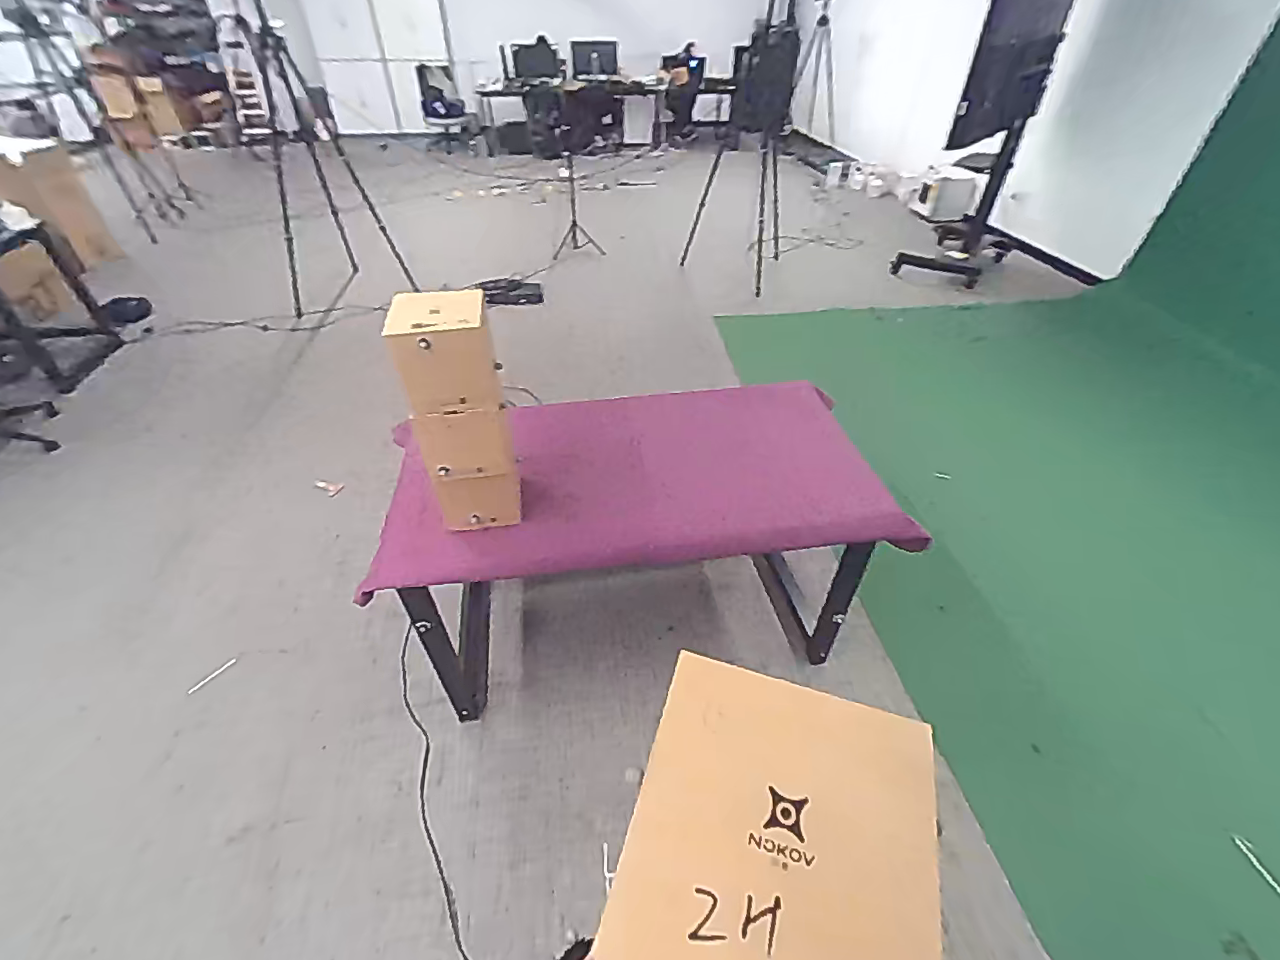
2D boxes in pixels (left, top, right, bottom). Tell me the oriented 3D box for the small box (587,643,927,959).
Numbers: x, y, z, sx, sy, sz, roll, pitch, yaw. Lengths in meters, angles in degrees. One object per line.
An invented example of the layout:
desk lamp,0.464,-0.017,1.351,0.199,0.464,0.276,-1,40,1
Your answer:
small box,0.075,0.246,0.364,0.168,0.176,0.179,13,48,14

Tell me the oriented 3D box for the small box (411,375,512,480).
small box,-0.368,-0.112,1.147,0.168,0.176,0.179,-7,41,-7

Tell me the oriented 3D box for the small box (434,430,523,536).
small box,-0.369,0.005,1.261,0.168,0.176,0.179,-7,42,-7

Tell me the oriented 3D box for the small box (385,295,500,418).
small box,-0.370,-0.240,1.044,0.168,0.176,0.179,-8,41,-7
